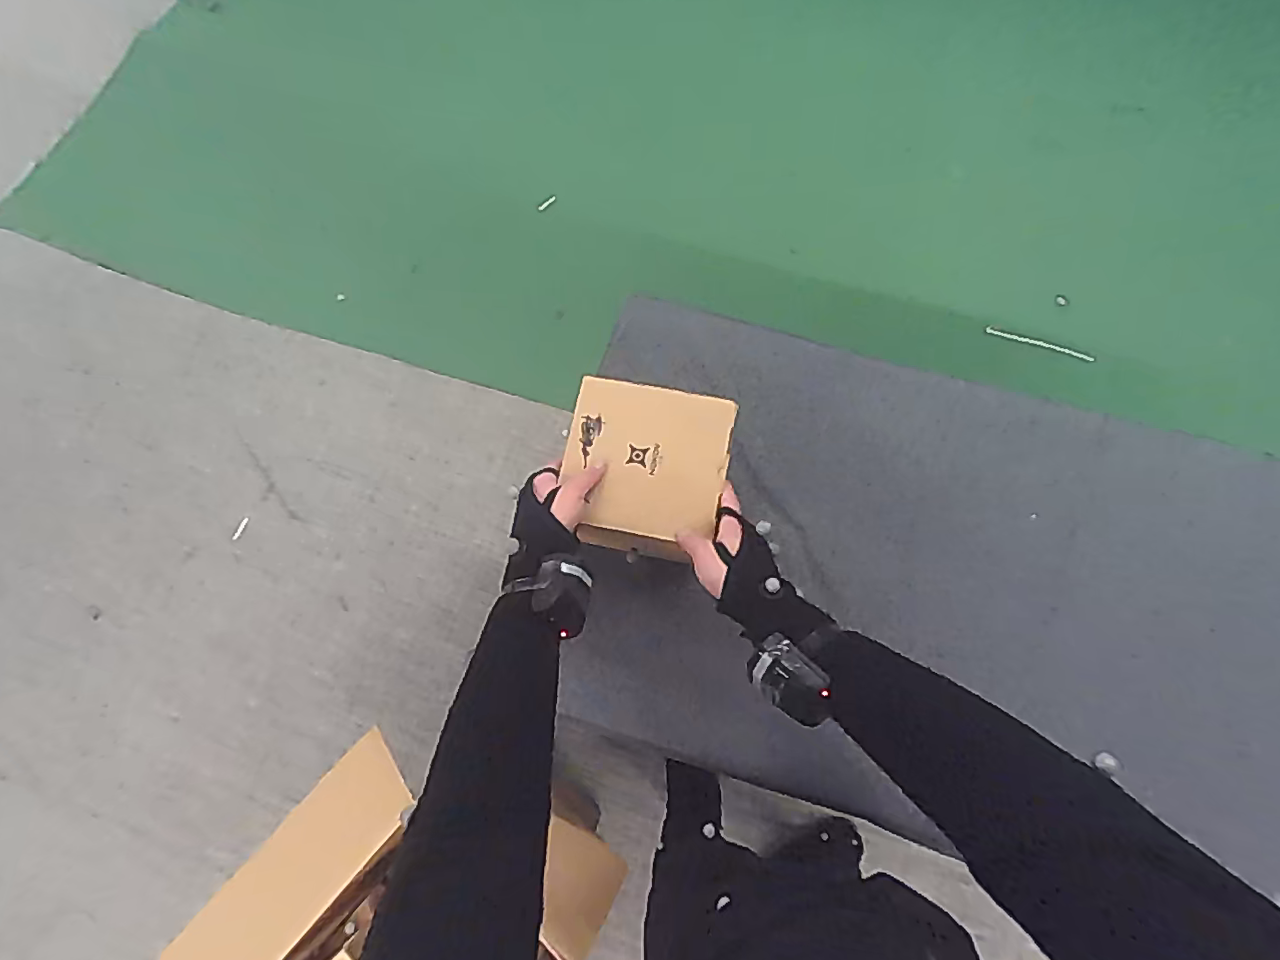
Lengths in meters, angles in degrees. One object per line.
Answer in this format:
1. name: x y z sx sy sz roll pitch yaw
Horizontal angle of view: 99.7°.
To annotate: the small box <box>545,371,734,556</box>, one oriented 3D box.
1. small box: 0.002 -0.008 0.658 0.179 0.176 0.168 12 75 3
